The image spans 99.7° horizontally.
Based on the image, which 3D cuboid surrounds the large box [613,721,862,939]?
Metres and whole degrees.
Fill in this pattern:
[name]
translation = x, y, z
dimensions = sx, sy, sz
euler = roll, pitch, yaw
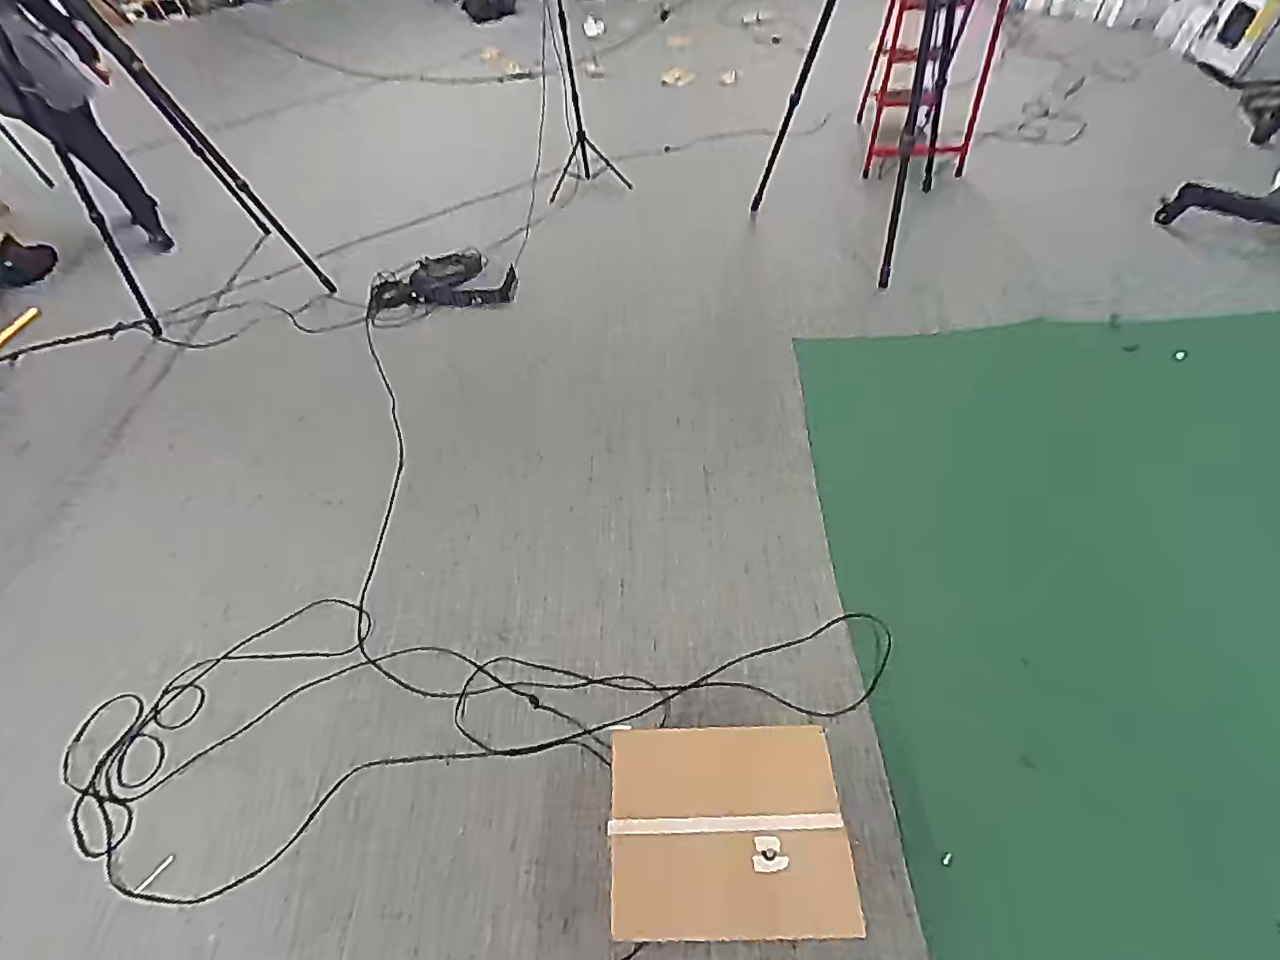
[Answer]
[large box]
translation = 0.158, 0.684, 1.067
dimensions = 0.408, 0.320, 0.320
euler = -3, 54, 2
